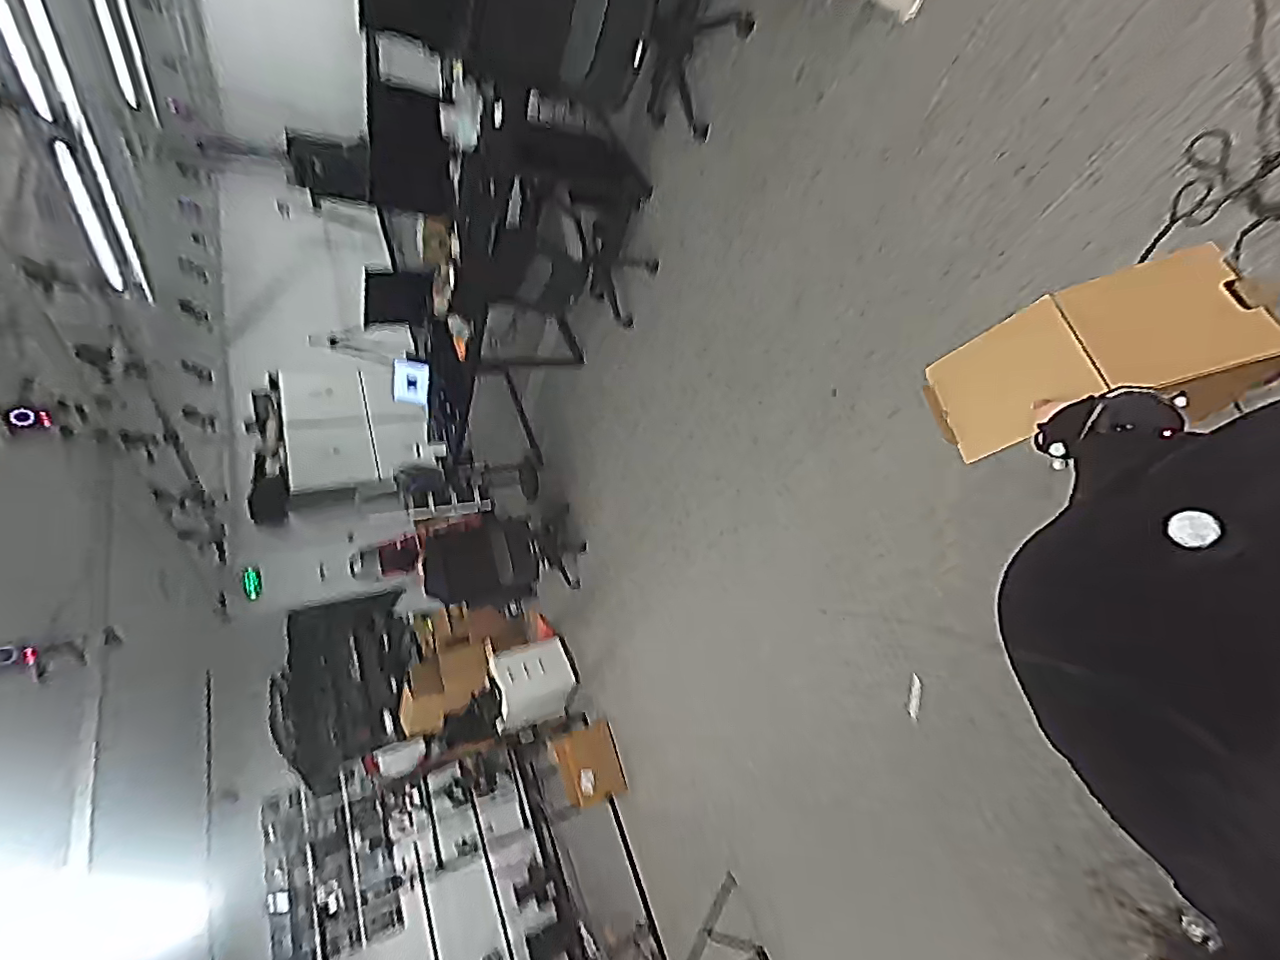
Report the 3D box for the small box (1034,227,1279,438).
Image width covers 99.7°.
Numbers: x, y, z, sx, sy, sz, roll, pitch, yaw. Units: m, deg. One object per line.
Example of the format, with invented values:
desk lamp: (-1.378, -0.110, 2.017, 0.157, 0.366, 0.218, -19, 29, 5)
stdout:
small box: (0.637, -0.172, 0.687, 0.176, 0.179, 0.168, 42, -144, -61)
